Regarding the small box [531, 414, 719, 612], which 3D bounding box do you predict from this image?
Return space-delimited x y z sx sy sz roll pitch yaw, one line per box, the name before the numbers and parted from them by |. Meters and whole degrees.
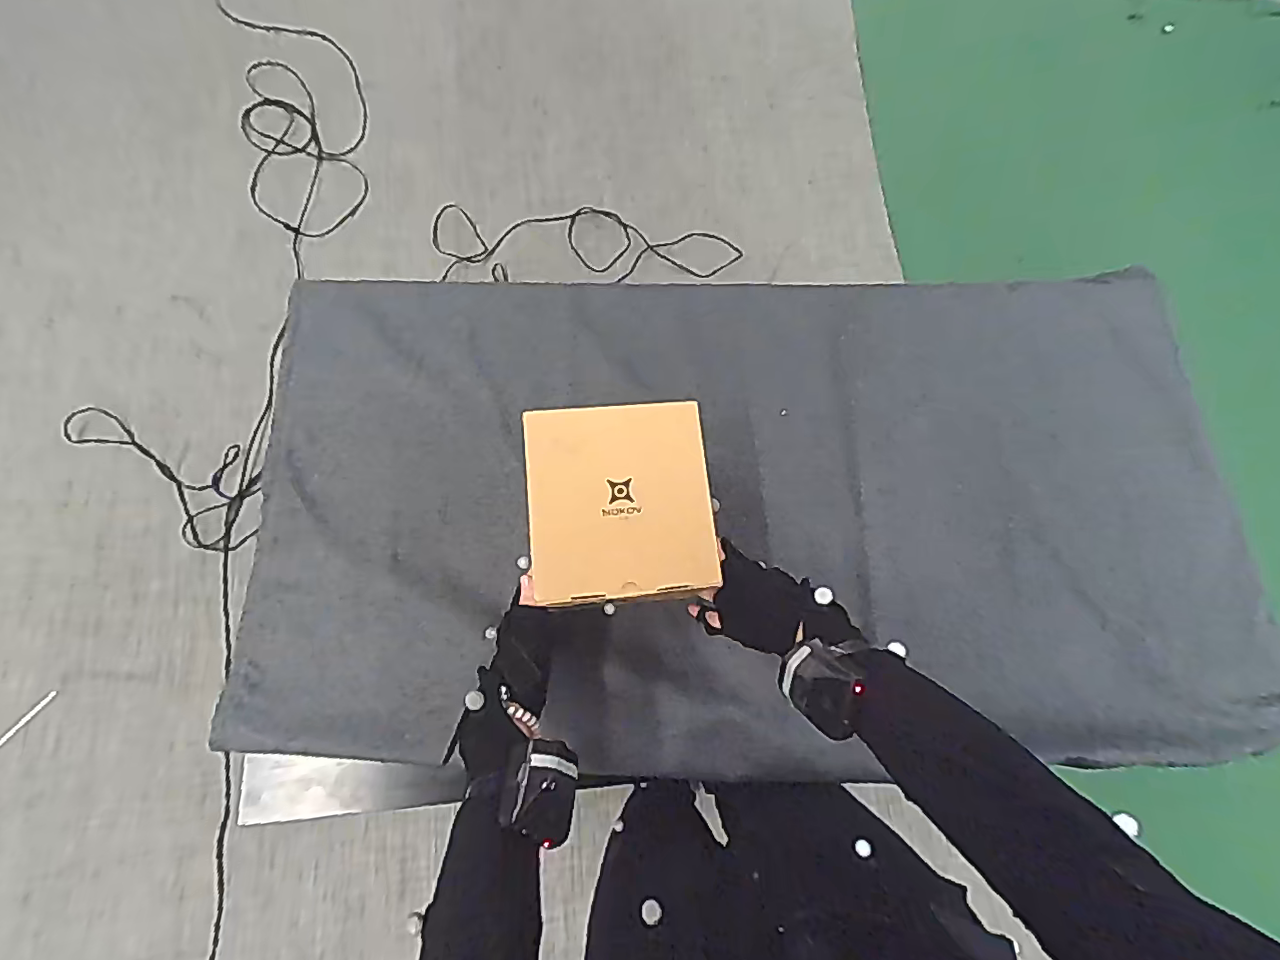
small box | -0.026 0.043 0.572 0.168 0.176 0.179 -4 77 -8
